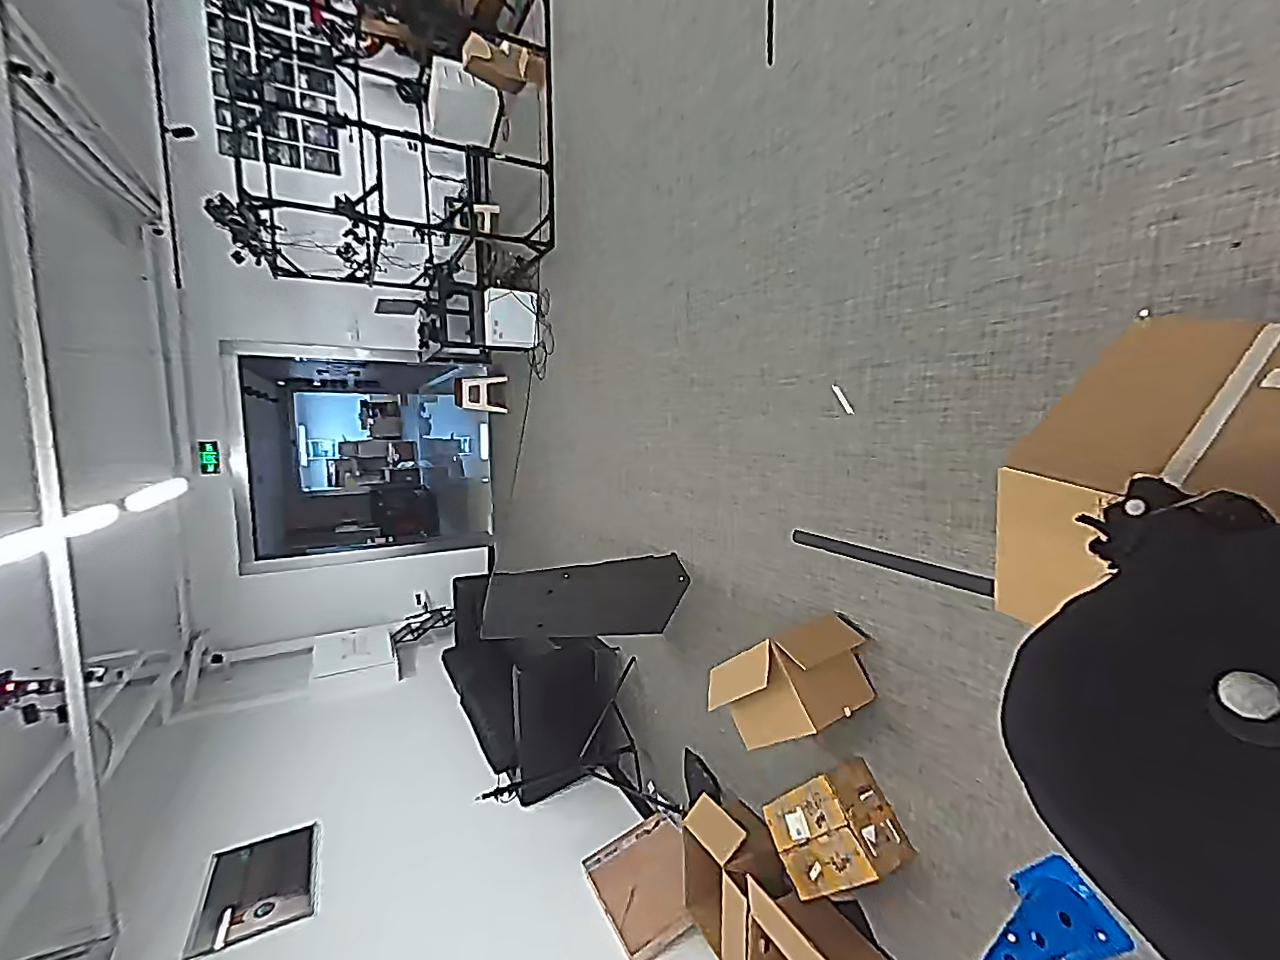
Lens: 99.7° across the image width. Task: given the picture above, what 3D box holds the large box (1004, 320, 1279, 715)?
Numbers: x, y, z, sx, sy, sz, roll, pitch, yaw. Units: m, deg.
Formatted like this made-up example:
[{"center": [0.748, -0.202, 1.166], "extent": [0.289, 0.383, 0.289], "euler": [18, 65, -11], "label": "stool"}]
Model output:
[{"center": [0.766, 0.021, 0.751], "extent": [0.320, 0.408, 0.320], "euler": [29, 150, 50], "label": "large box"}]
